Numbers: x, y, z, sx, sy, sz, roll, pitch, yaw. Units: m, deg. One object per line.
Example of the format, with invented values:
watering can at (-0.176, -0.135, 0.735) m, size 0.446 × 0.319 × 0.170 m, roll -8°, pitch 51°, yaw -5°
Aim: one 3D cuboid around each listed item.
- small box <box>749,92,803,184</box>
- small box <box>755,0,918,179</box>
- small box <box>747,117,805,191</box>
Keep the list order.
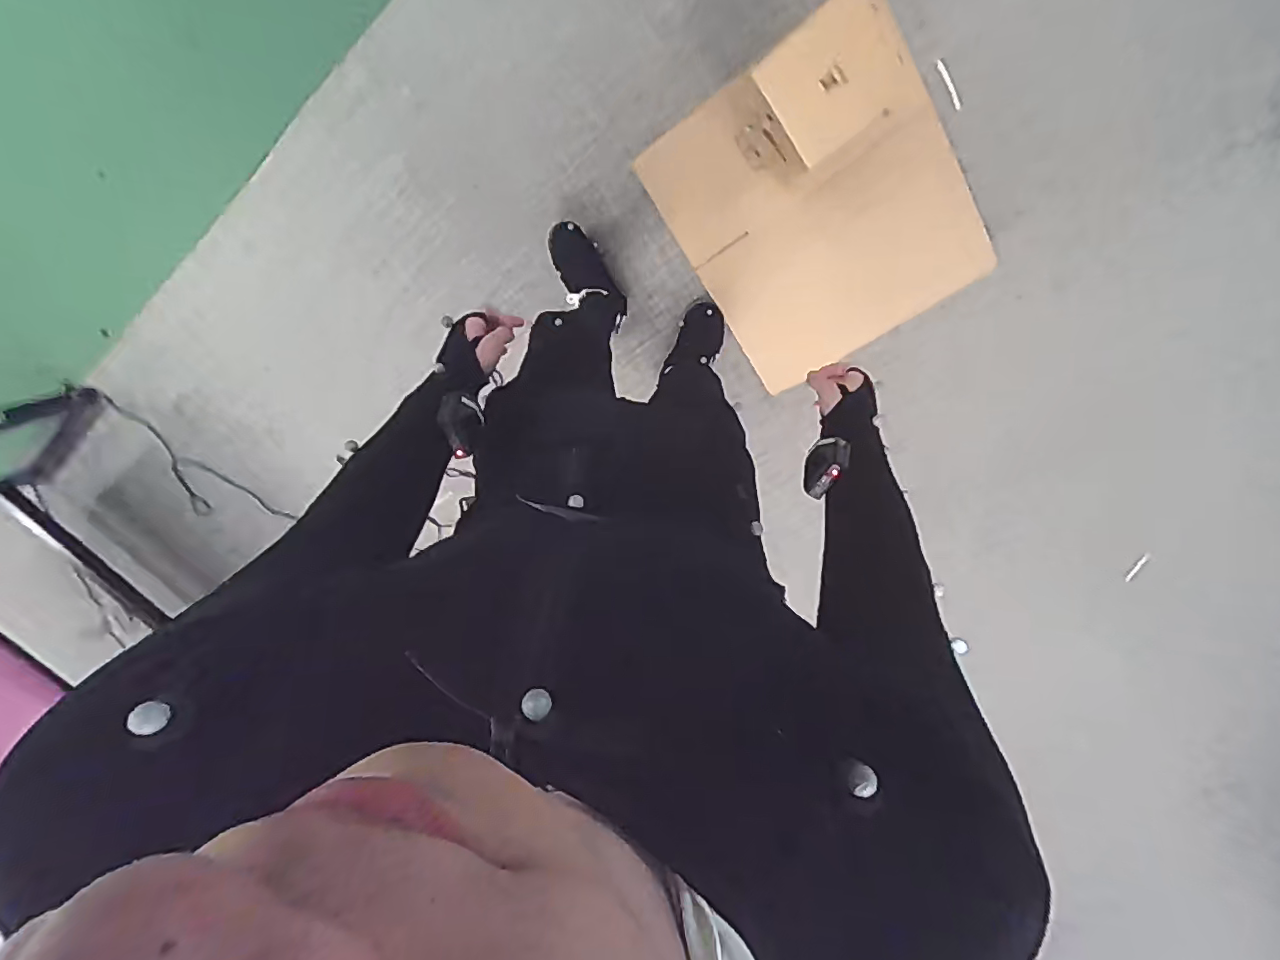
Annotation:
small box at (0.320, -0.683, 1.008) m, size 0.179 × 0.176 × 0.168 m, roll -34°, pitch 105°, yaw 20°
small box at (0.300, -0.612, 0.863) m, size 0.179 × 0.176 × 0.168 m, roll -33°, pitch 105°, yaw 21°
small box at (0.344, -0.750, 1.155) m, size 0.179 × 0.176 × 0.168 m, roll -37°, pitch 104°, yaw 23°
